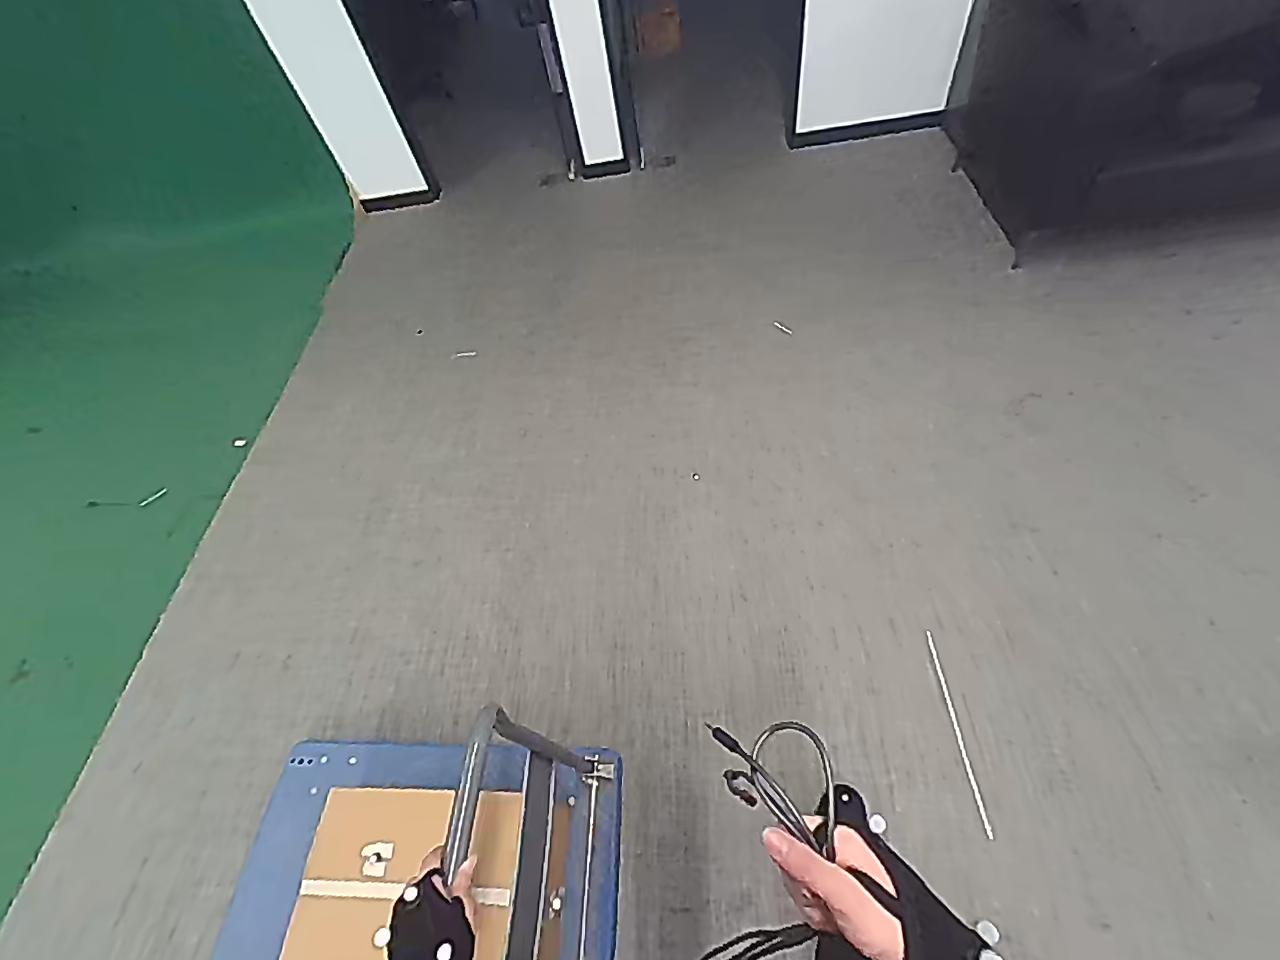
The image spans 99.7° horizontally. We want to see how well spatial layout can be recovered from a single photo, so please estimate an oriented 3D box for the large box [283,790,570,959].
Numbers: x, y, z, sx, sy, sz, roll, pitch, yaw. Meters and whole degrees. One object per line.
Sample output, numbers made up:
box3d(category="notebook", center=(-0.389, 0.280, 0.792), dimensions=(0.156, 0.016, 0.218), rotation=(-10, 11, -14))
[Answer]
box3d(category="large box", center=(-0.376, 0.796, 1.053), dimensions=(0.408, 0.320, 0.320), rotation=(-4, 55, 9))
